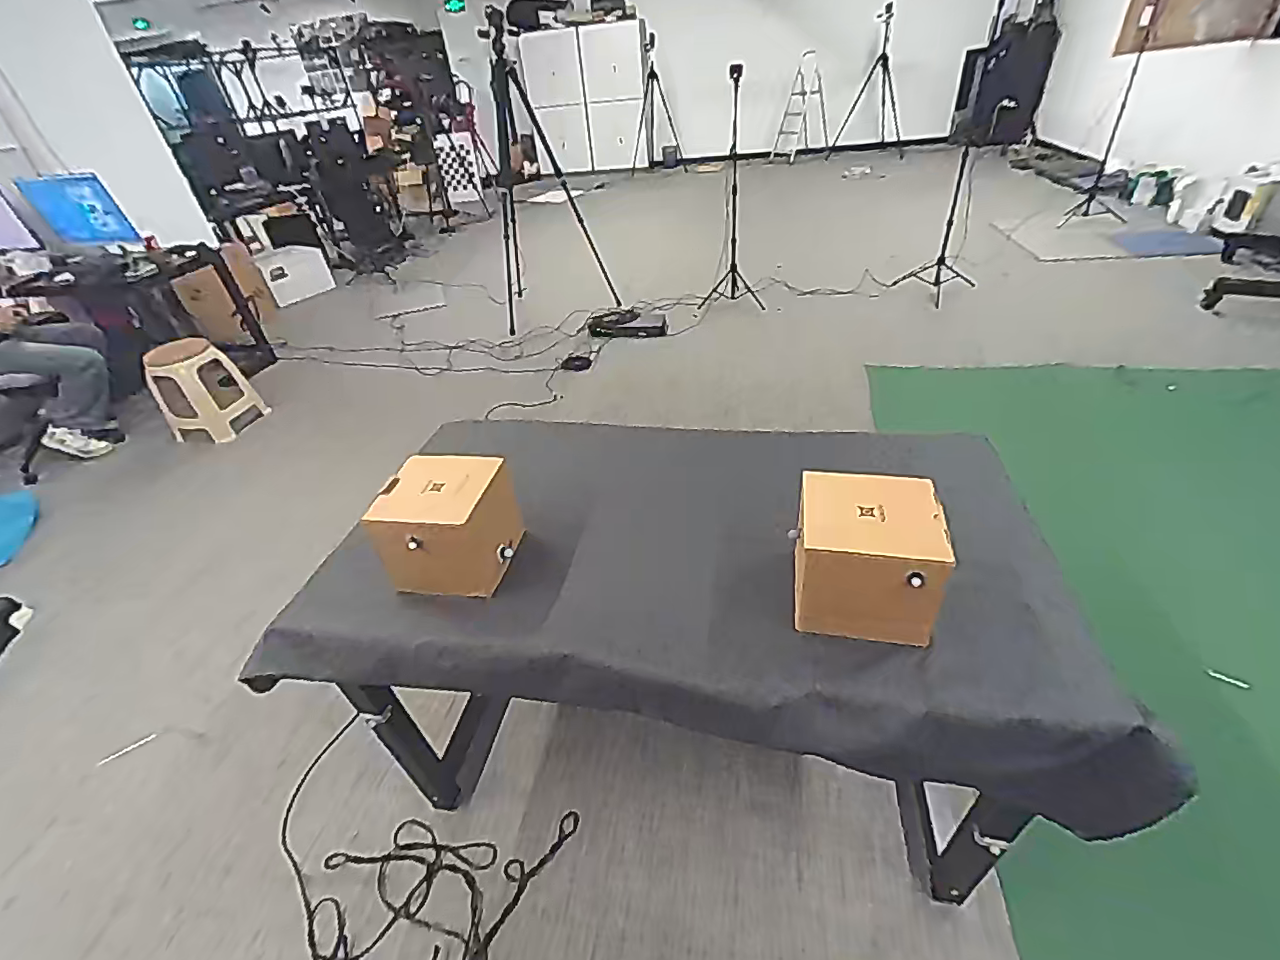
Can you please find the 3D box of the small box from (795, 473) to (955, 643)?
[{"bbox_3d":[0.314,0.108,0.762,0.179,0.176,0.168,4,38,14],"label":"small box"}]

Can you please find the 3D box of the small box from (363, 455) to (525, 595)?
[{"bbox_3d":[-0.312,0.075,0.901,0.179,0.176,0.168,3,39,10],"label":"small box"}]
